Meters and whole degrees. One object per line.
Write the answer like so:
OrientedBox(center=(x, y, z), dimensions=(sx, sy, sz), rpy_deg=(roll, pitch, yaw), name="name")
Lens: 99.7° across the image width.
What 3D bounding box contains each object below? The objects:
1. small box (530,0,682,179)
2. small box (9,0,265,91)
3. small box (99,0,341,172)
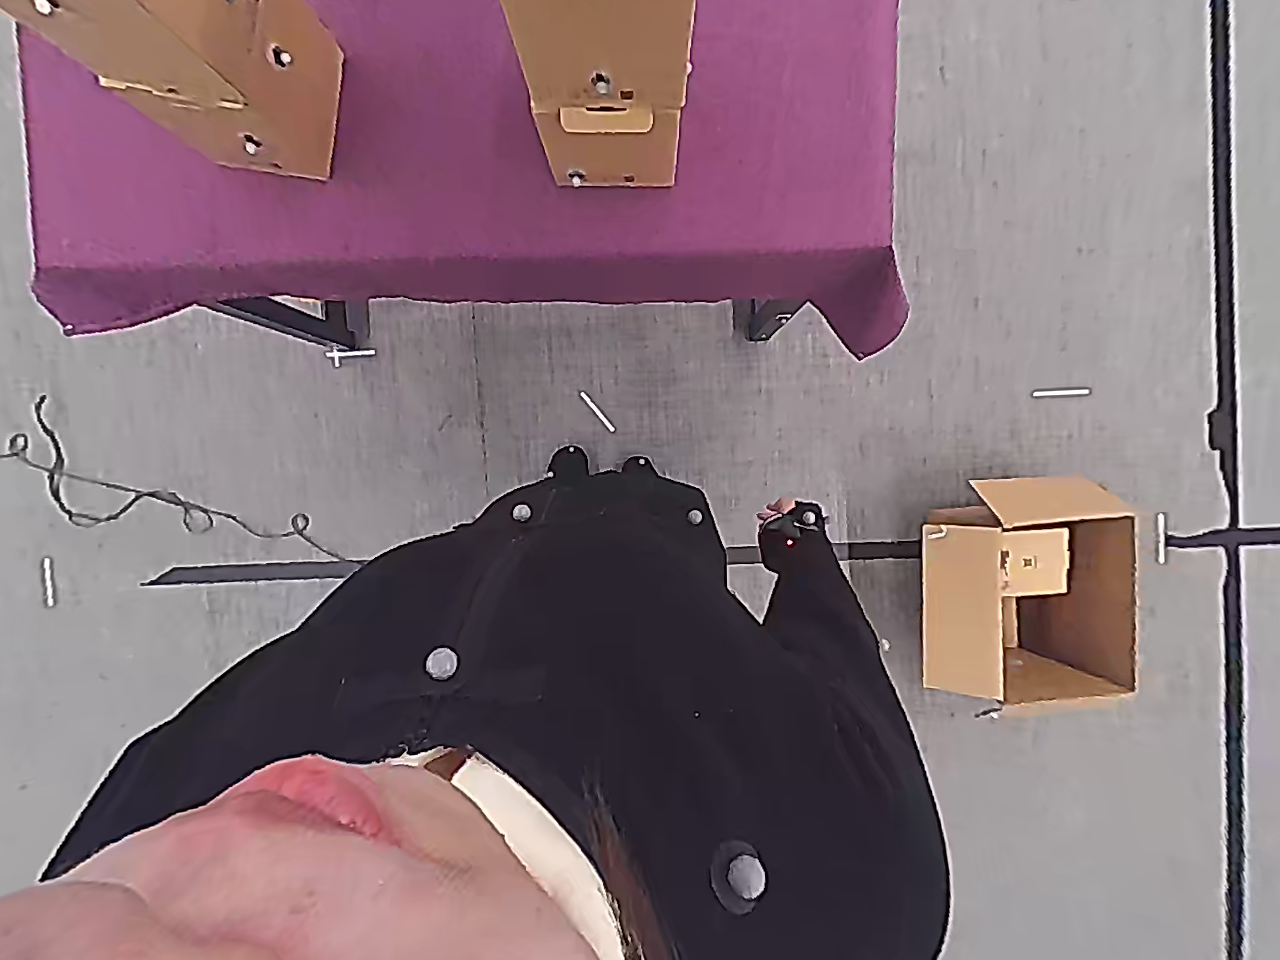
OrientedBox(center=(-0.035, -0.495, 0.663), dimensions=(0.168, 0.176, 0.179), rpy_deg=(1, 92, 0), name="small box")
OrientedBox(center=(-0.494, -0.507, 0.504), dimensions=(0.179, 0.176, 0.168), rpy_deg=(10, 94, -1), name="small box")
OrientedBox(center=(-0.499, -0.515, 0.668), dimensions=(0.168, 0.176, 0.179), rpy_deg=(9, 93, -1), name="small box")
